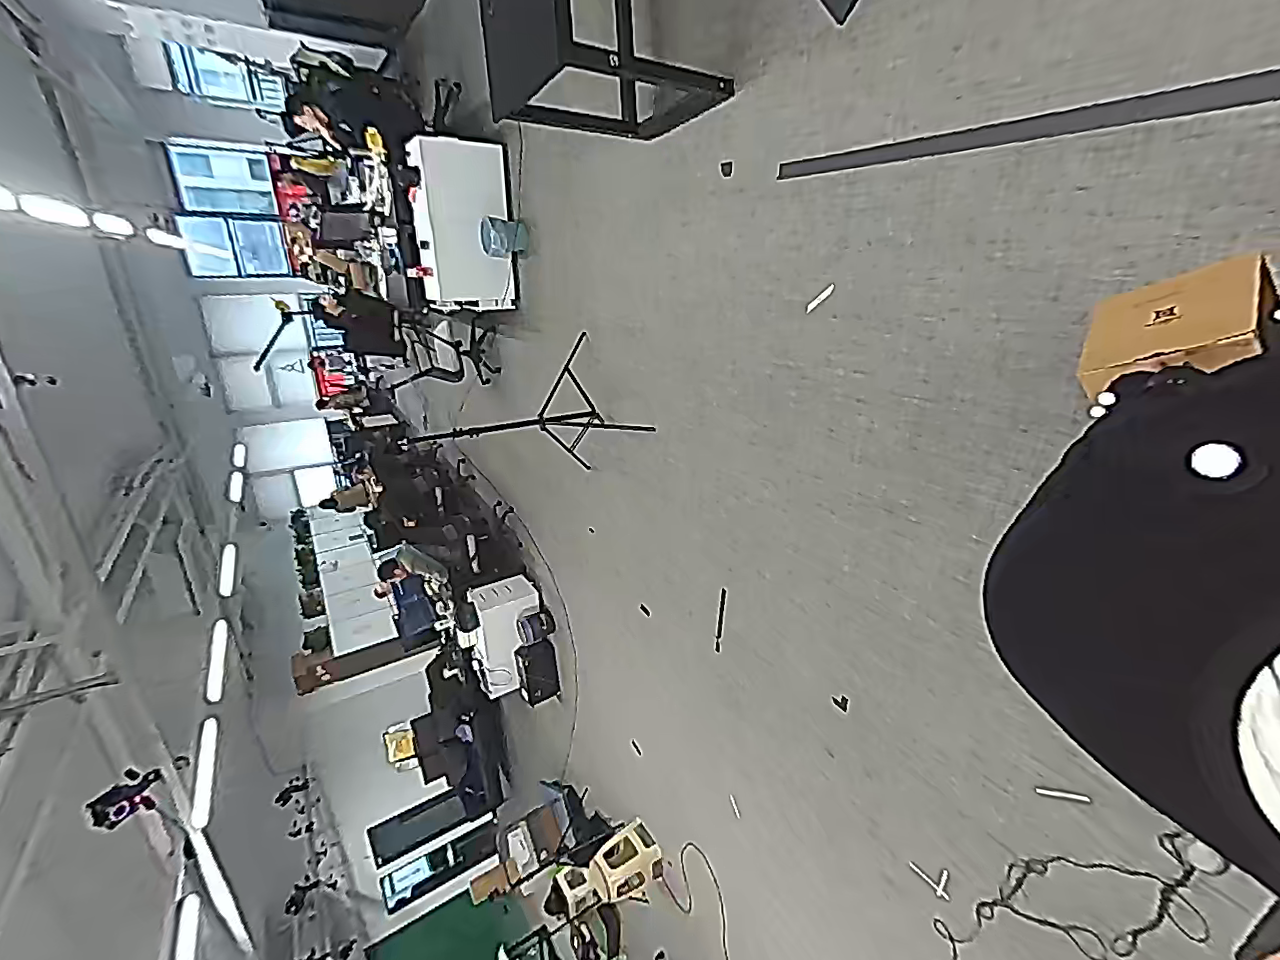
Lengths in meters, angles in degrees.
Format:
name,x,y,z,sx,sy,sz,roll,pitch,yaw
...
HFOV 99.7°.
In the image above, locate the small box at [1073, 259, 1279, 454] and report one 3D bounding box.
name,x,y,z,sx,sy,sz,roll,pitch,yaw
small box,0.725,-0.149,0.723,0.176,0.179,0.168,49,152,-17
